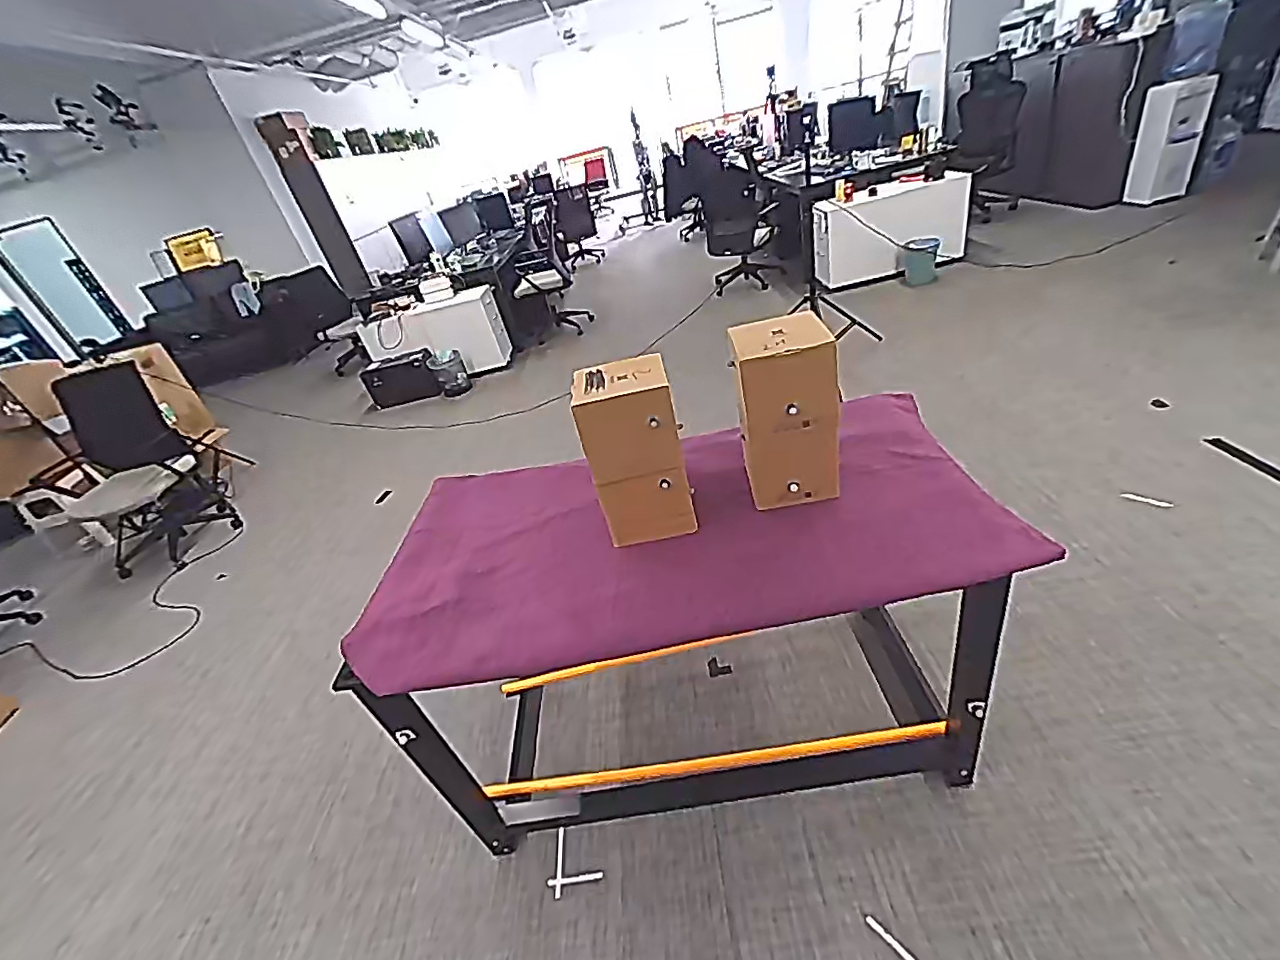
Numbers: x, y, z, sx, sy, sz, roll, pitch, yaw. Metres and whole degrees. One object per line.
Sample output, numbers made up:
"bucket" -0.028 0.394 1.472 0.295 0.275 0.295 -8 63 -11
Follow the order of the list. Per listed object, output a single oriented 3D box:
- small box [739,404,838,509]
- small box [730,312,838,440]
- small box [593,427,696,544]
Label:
"small box" 0.303 -0.063 1.119 0.168 0.176 0.179 -10 34 8
"small box" 0.270 -0.197 1.028 0.168 0.176 0.179 -11 33 8
"small box" 0.010 0.014 1.126 0.179 0.176 0.168 -11 33 5
